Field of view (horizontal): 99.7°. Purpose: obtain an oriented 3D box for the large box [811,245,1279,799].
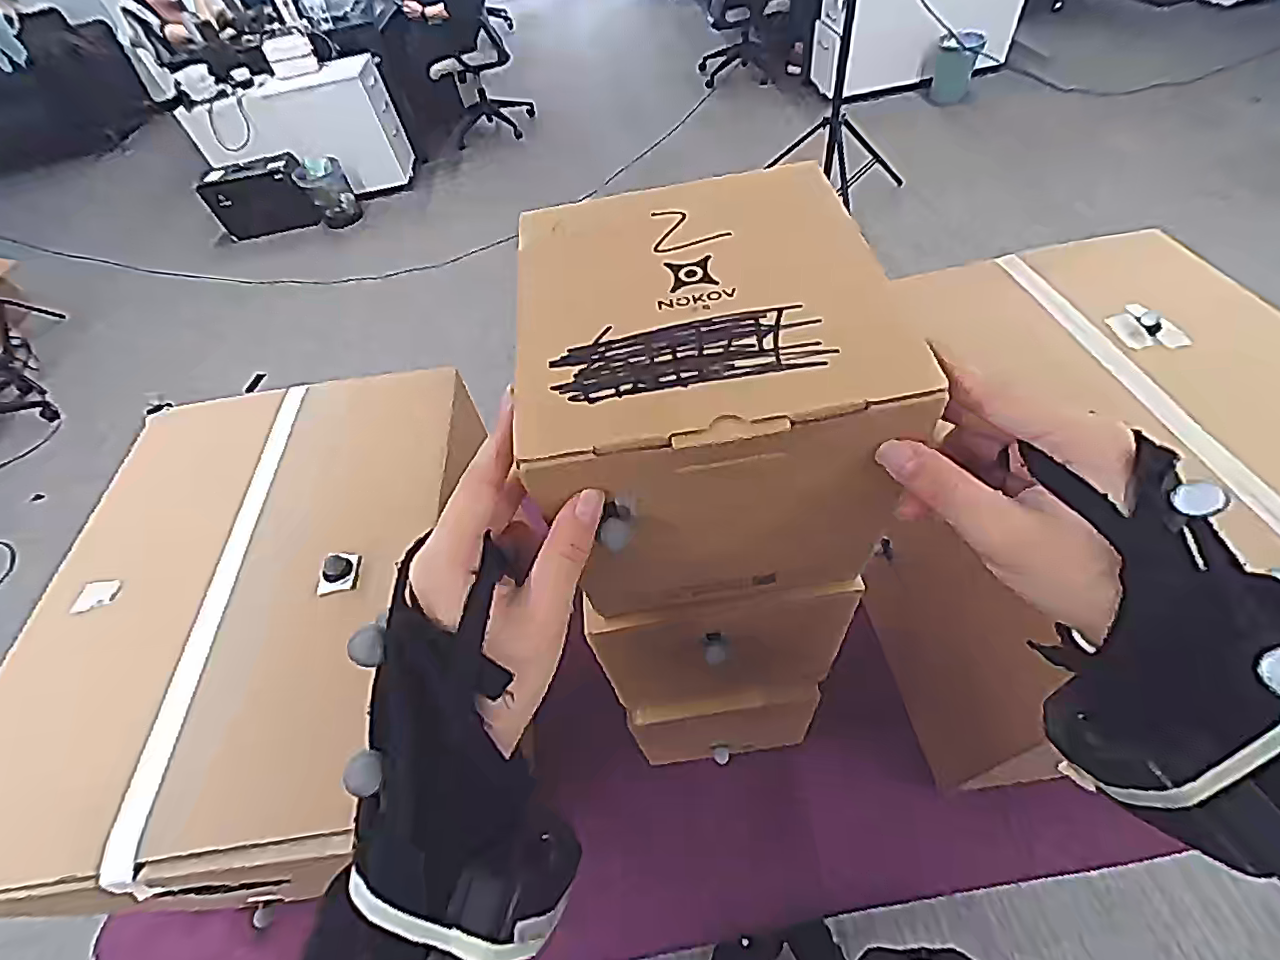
[{"bbox_3d":[0.394,0.038,0.531,0.320,0.320,0.408,-11,50,1],"label":"large box"}]
